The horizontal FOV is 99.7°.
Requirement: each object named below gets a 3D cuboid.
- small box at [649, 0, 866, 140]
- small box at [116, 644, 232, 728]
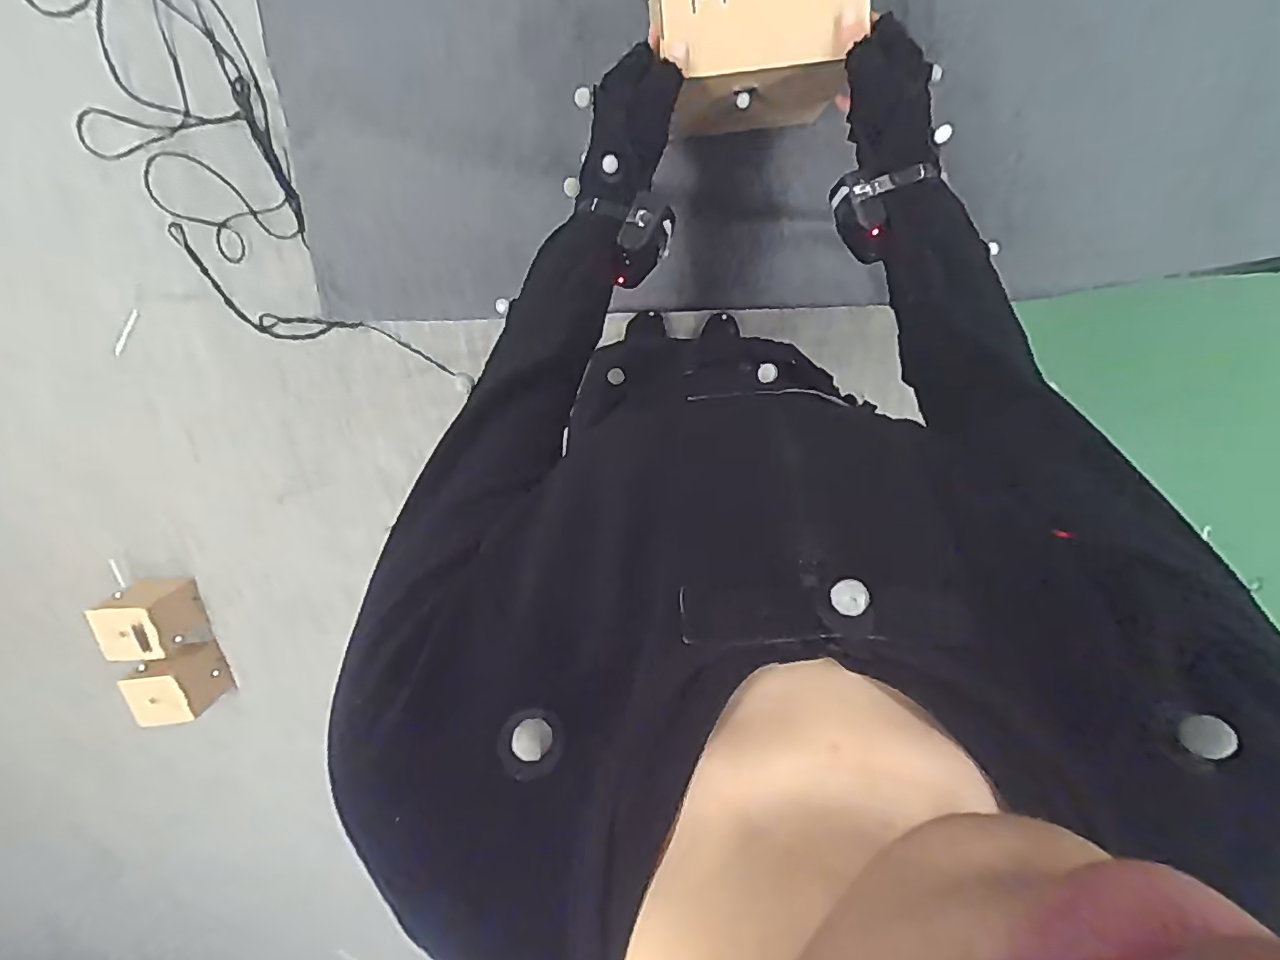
[{"bbox_3d":[0.098,-0.446,0.514,0.179,0.176,0.168,-5,107,2],"label":"small box"},{"bbox_3d":[-1.396,0.617,1.631,0.179,0.176,0.168,-7,108,3],"label":"small box"}]
